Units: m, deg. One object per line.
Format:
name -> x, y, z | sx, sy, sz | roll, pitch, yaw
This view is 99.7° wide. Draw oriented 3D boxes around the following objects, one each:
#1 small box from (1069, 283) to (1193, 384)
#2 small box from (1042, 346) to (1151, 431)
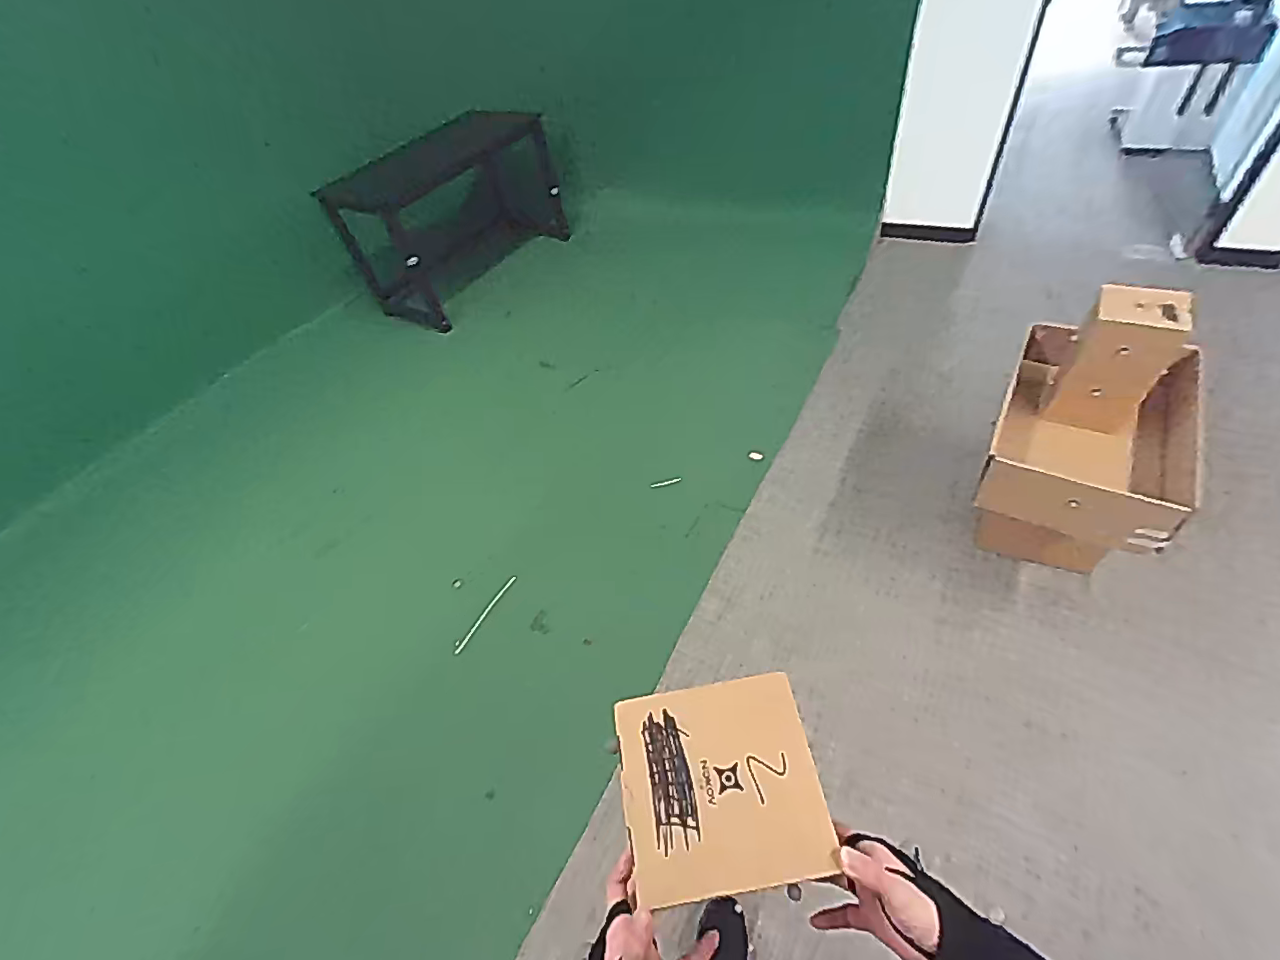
small box -> 1.210, -0.360, 1.340 | 0.179, 0.176, 0.168 | 19, 56, 26
small box -> 1.236, -0.256, 1.465 | 0.179, 0.176, 0.168 | 21, 57, 26
